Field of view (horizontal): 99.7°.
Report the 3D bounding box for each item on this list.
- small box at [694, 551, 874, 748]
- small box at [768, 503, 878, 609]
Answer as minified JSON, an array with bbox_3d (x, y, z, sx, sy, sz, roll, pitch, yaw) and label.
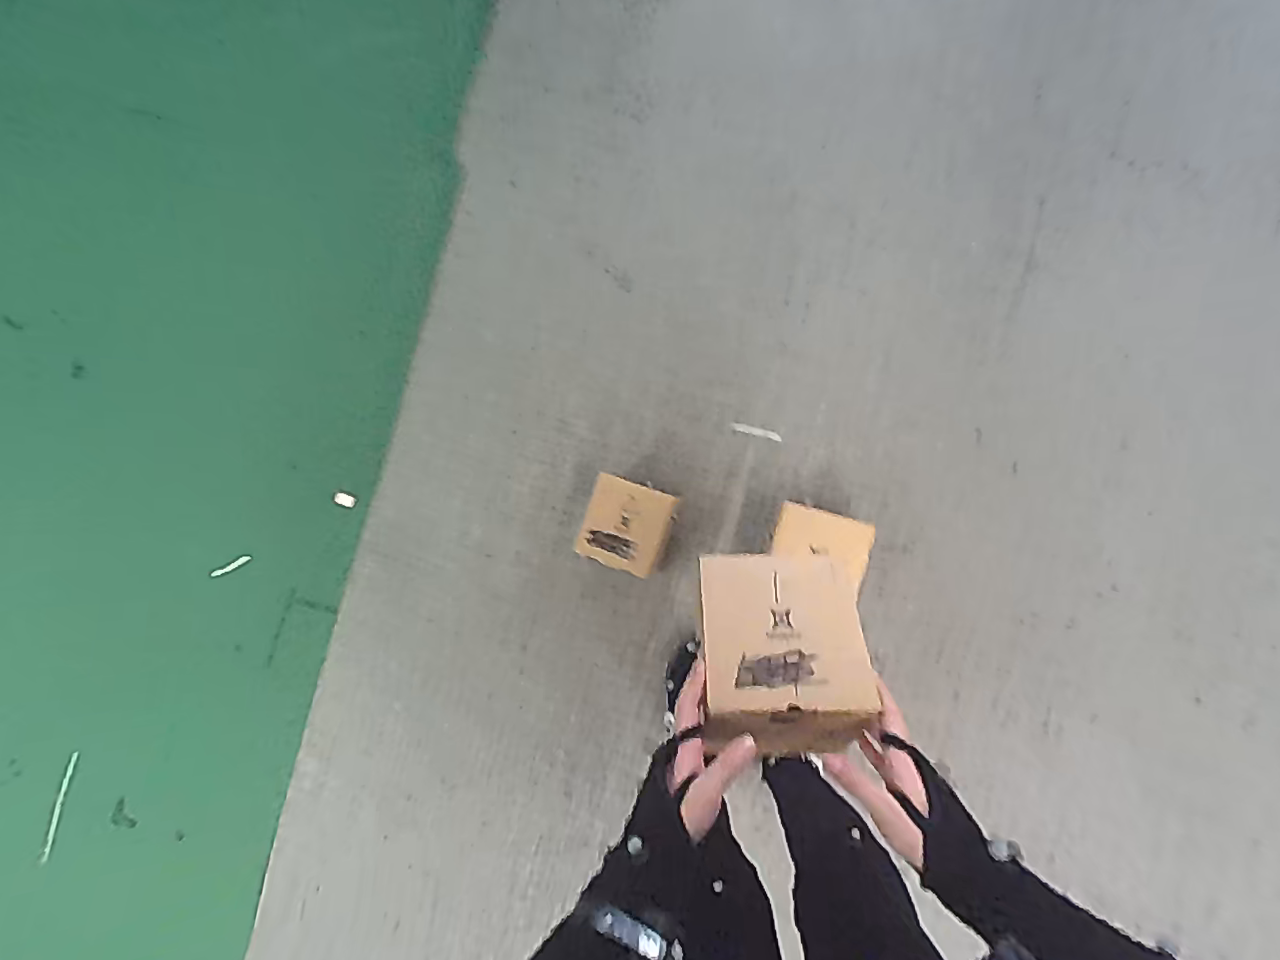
[{"bbox_3d":[0.150,0.202,0.629,0.168,0.176,0.179,-2,50,3],"label":"small box"},{"bbox_3d":[0.362,0.151,1.117,0.179,0.176,0.168,16,89,10],"label":"small box"}]
